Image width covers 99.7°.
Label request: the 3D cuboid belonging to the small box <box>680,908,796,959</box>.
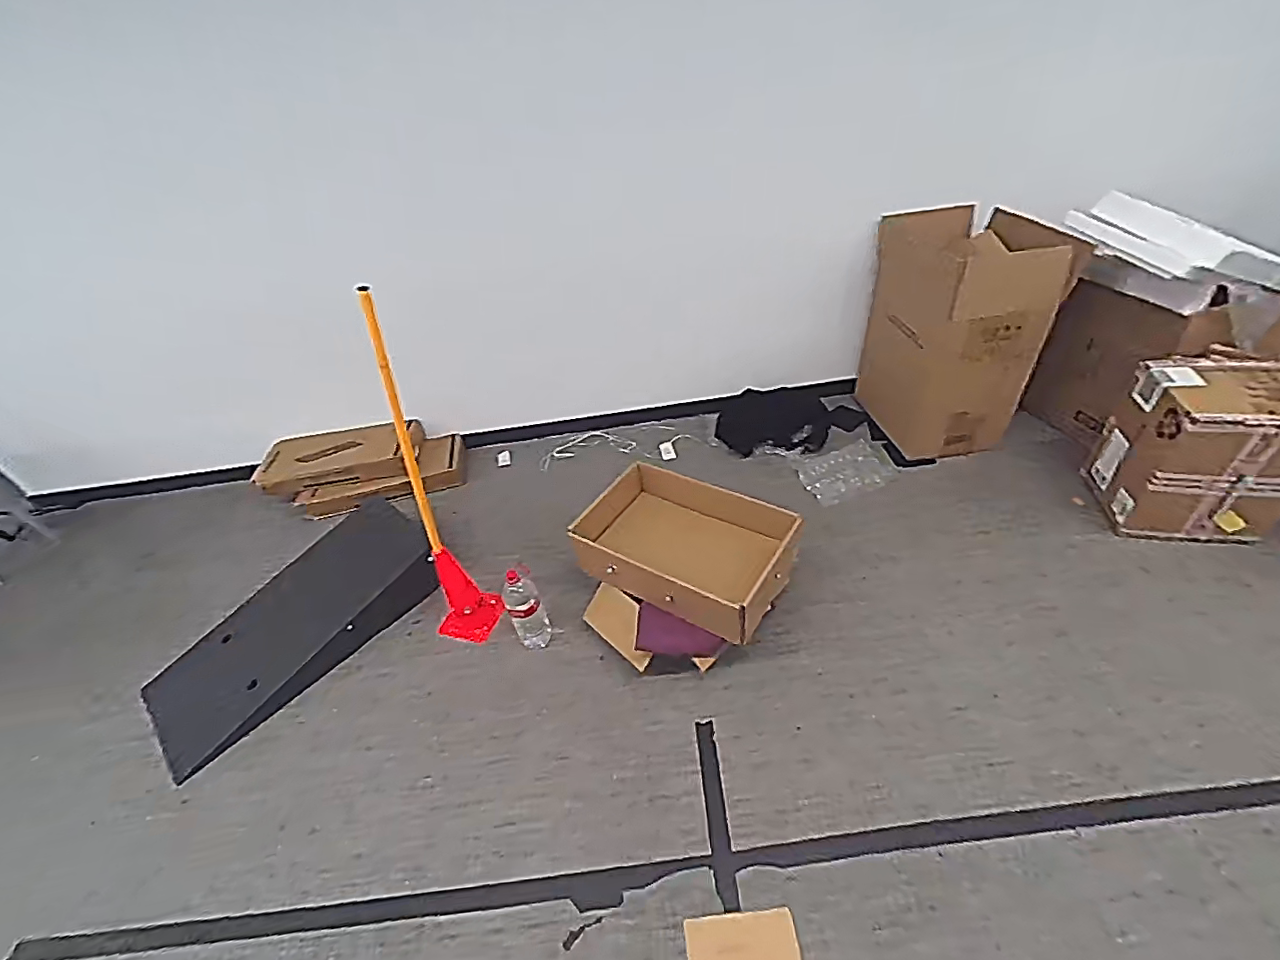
[{"bbox_3d":[0.154,0.775,0.807,0.168,0.176,0.179,-7,39,1],"label":"small box"}]
